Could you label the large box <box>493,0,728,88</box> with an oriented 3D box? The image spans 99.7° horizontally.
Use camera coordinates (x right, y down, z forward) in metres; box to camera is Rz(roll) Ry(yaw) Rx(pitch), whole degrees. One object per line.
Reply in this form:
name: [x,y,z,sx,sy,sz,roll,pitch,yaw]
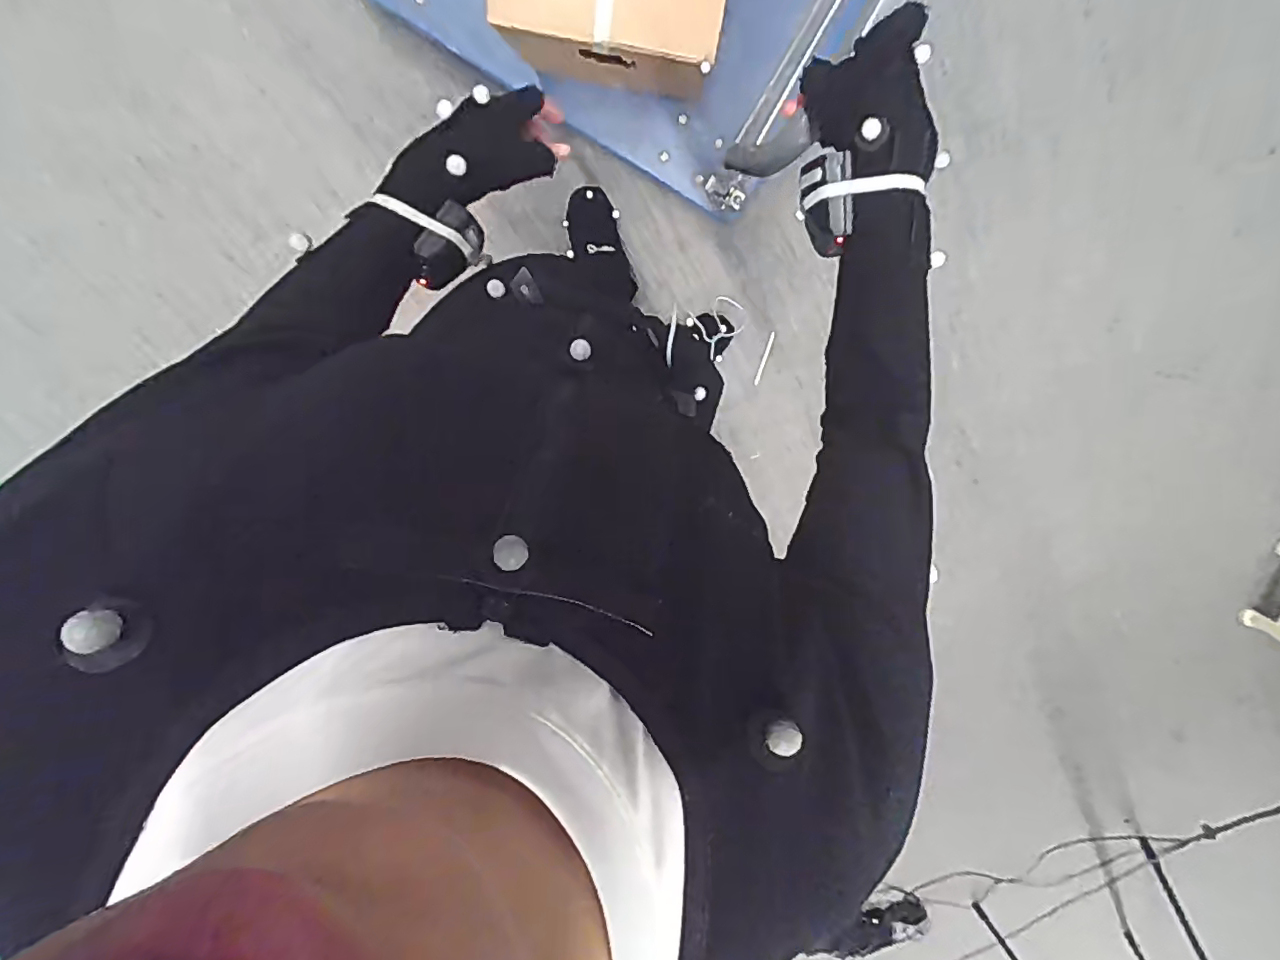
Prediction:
large box: [-0.012,-0.842,0.762,0.320,0.320,0.408,10,119,-2]
